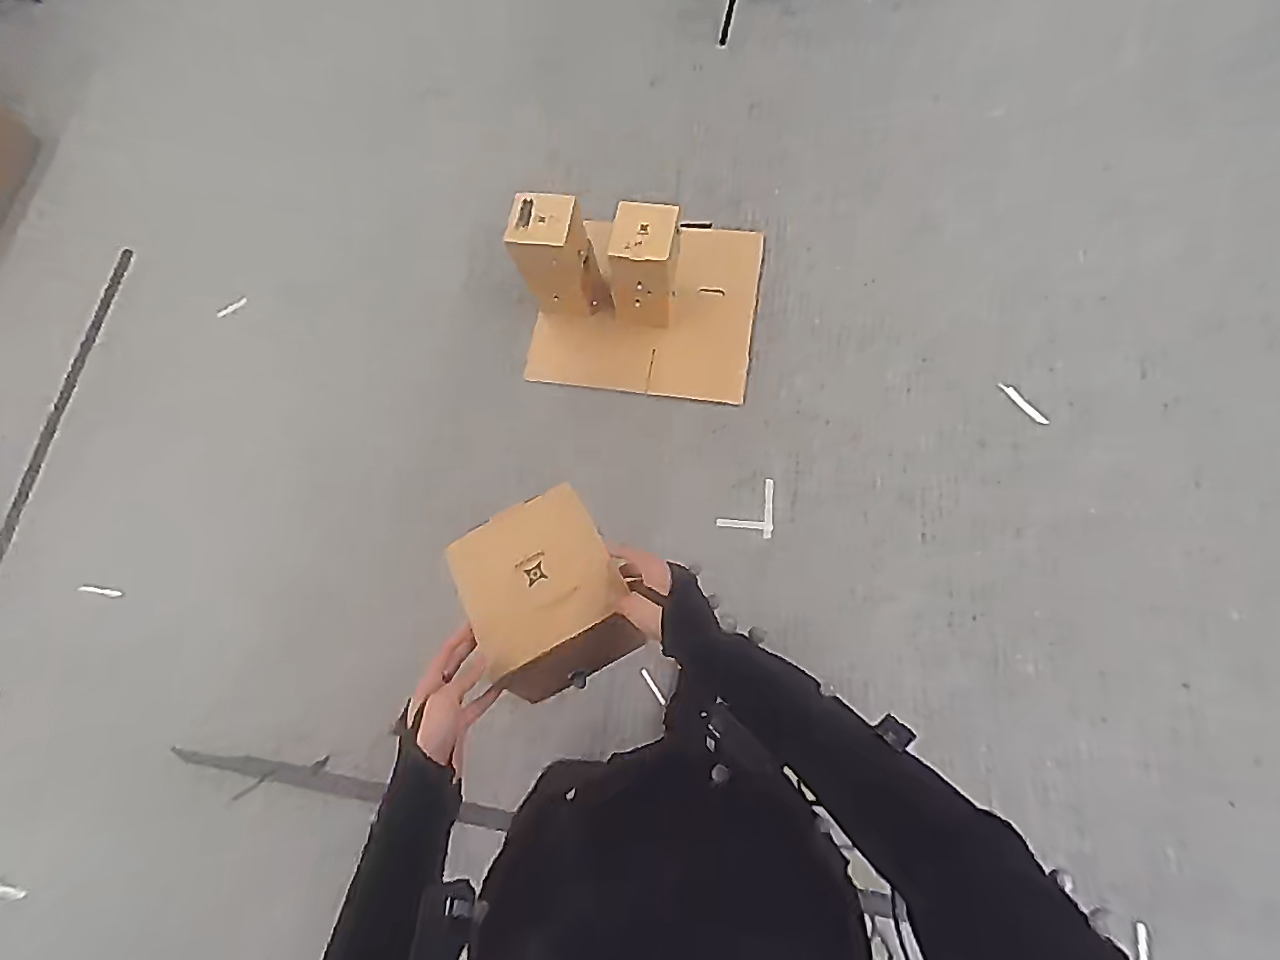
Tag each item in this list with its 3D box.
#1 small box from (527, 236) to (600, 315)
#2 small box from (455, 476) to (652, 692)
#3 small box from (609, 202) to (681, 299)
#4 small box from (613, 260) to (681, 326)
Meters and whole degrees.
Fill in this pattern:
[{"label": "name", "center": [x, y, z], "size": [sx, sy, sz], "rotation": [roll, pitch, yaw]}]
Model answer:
[{"label": "small box", "center": [-0.232, -0.638, 1.704], "size": [0.179, 0.176, 0.168], "rotation": [8, 76, 9]}, {"label": "small box", "center": [-0.097, 0.132, 0.661], "size": [0.168, 0.176, 0.179], "rotation": [-27, 60, -9]}, {"label": "small box", "center": [0.020, -0.636, 1.507], "size": [0.168, 0.176, 0.179], "rotation": [10, 77, 9]}, {"label": "small box", "center": [0.027, -0.592, 1.666], "size": [0.179, 0.176, 0.168], "rotation": [9, 77, 9]}]
